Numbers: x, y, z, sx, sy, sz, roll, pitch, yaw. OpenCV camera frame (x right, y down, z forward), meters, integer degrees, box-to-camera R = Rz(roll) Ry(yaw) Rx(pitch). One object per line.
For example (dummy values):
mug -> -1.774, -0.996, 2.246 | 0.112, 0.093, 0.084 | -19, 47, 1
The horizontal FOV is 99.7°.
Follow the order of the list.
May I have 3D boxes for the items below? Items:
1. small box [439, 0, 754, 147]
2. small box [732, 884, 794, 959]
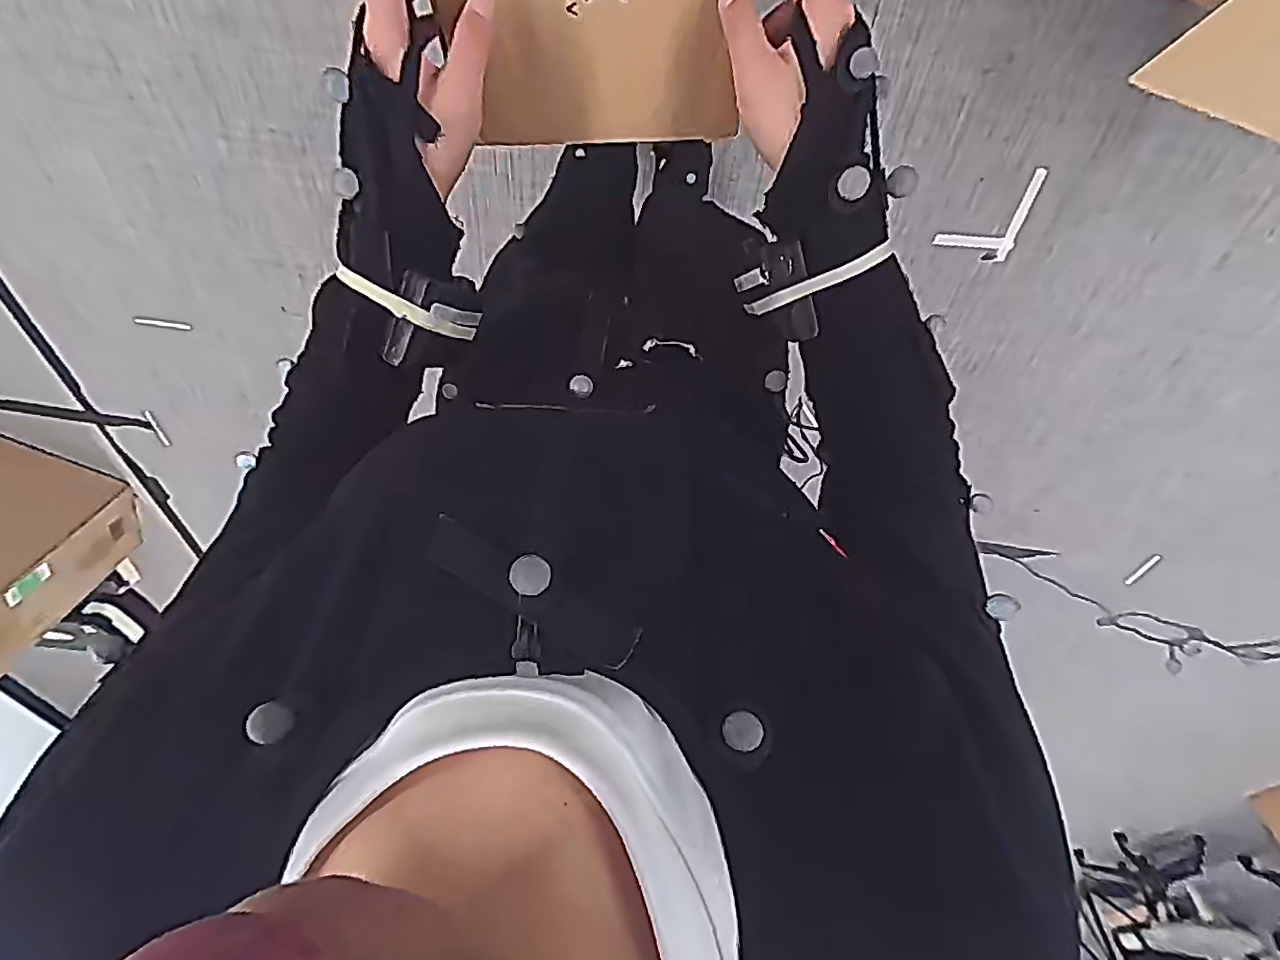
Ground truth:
small box -> -0.023, -0.331, 0.337 | 0.179, 0.176, 0.168 | 0, 141, 1
small box -> 0.407, 1.490, 1.825 | 0.179, 0.176, 0.168 | 5, 132, 4
